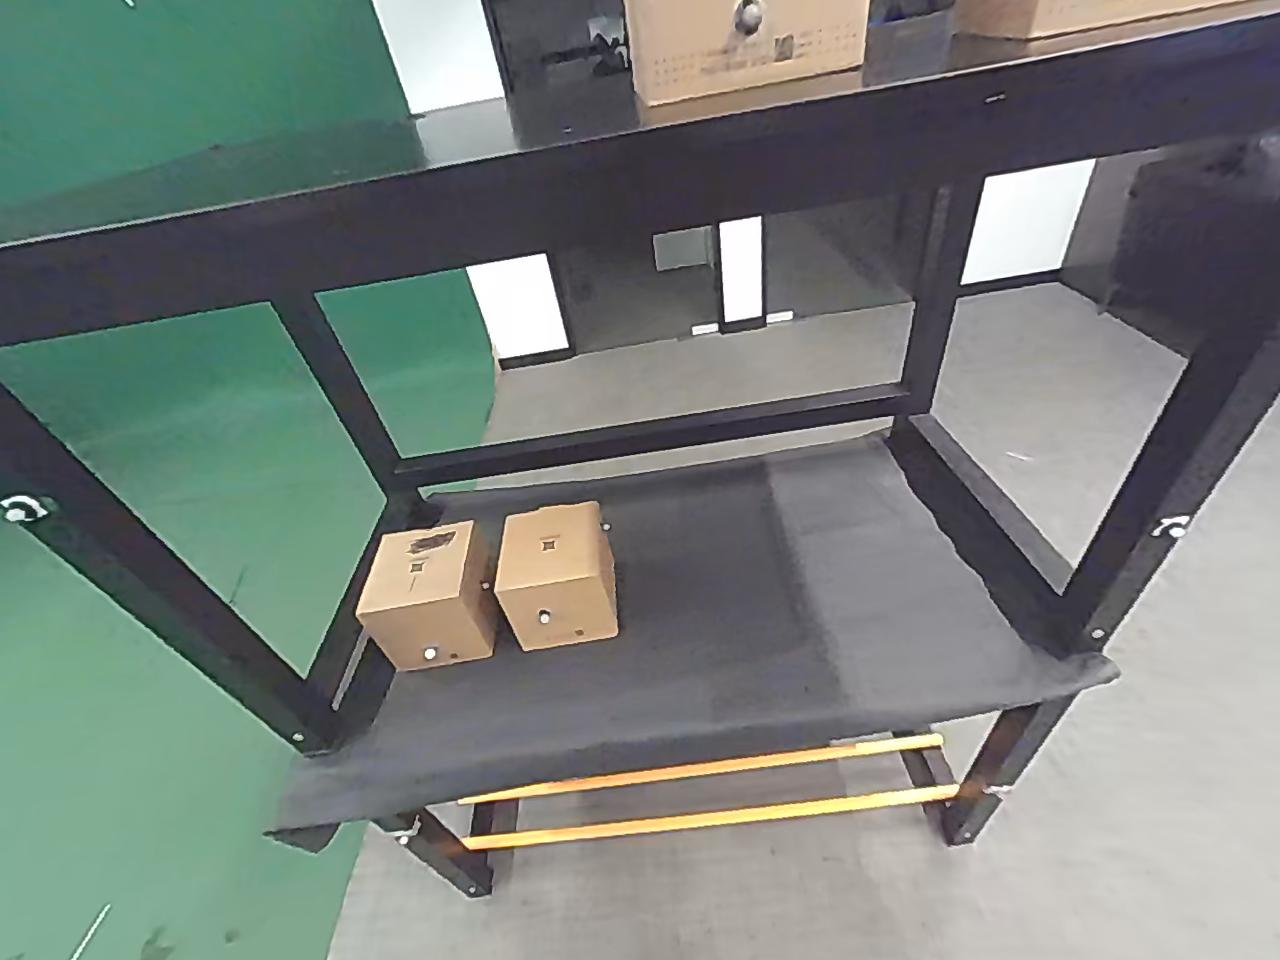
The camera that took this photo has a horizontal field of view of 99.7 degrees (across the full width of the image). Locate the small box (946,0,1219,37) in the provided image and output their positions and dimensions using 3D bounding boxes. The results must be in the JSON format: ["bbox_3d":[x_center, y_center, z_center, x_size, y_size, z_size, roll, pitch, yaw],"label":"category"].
[{"bbox_3d":[0.335,-0.426,0.370,0.168,0.176,0.179,-2,39,11],"label":"small box"}]

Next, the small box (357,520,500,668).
[{"bbox_3d":[-0.353,0.199,0.944,0.168,0.176,0.179,-10,39,1],"label":"small box"}]
